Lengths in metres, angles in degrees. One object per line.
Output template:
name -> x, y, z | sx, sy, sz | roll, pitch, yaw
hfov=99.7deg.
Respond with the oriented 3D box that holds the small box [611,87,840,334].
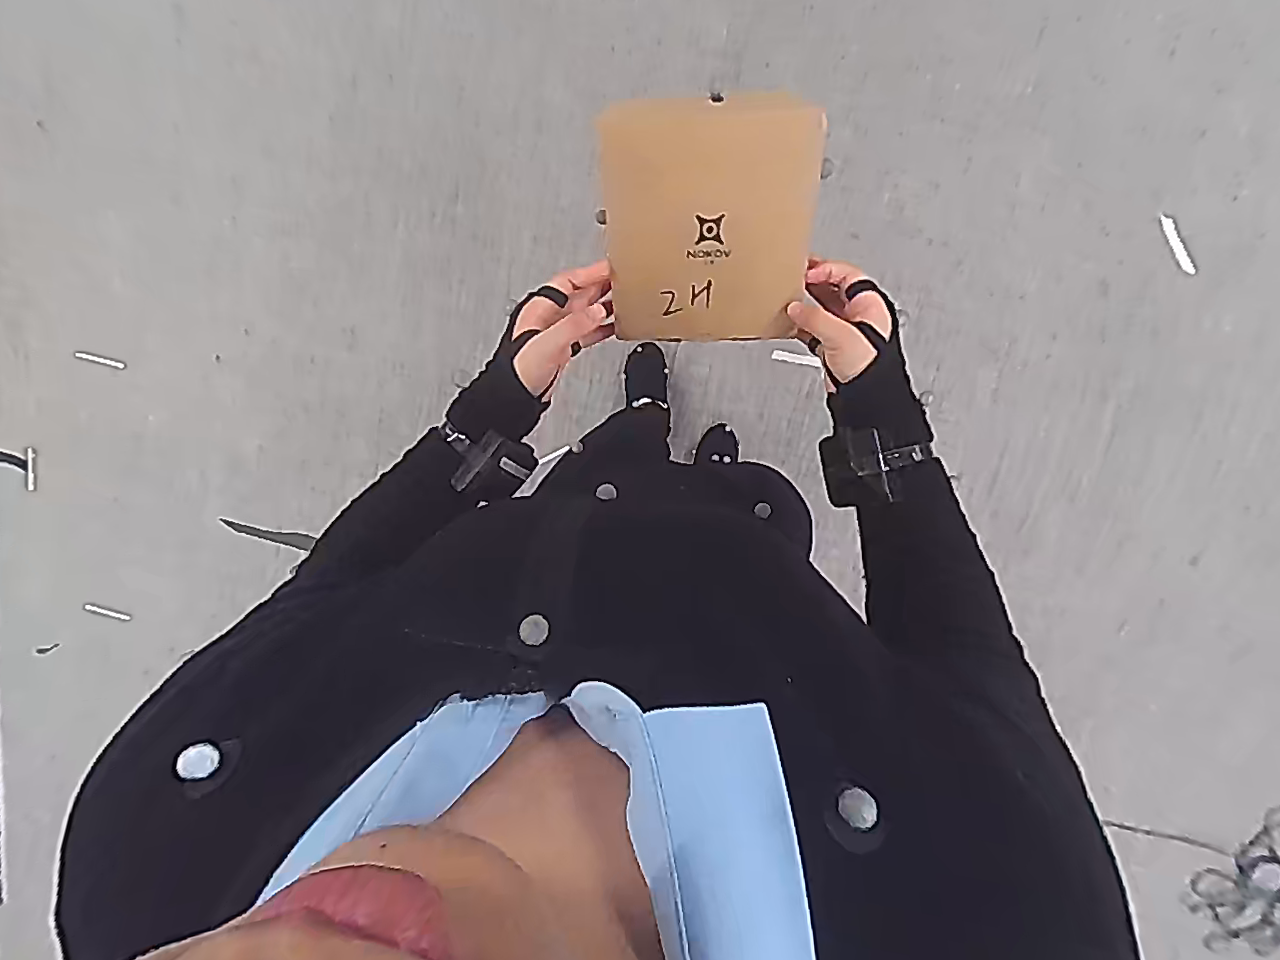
small box -> 0.067, -0.249, 0.494 | 0.168, 0.176, 0.179 | 1, 129, 5
